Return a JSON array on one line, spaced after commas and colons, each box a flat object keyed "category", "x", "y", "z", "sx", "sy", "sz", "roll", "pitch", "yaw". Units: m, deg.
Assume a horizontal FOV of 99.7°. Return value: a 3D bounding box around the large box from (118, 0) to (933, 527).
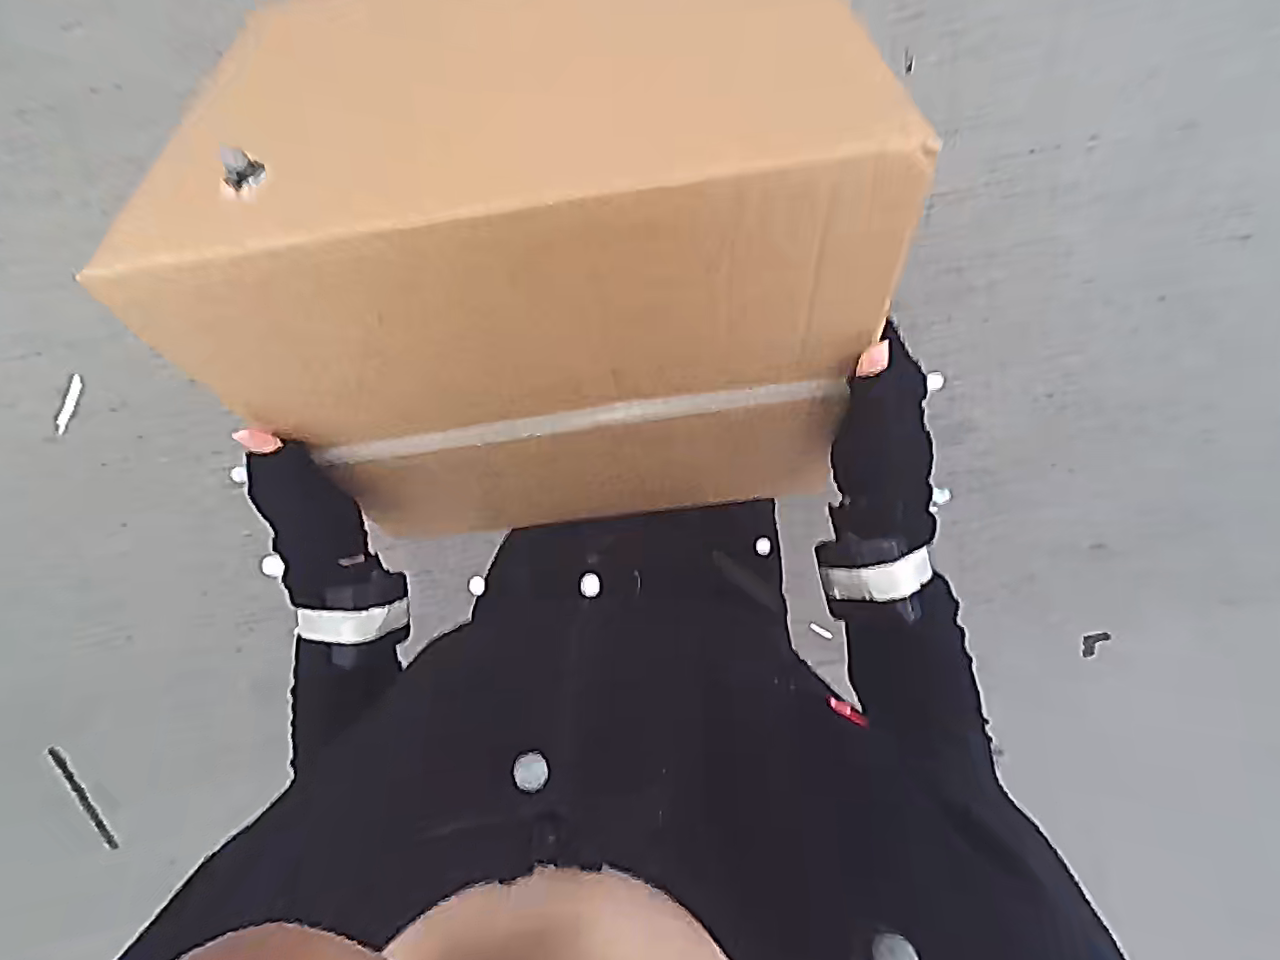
[{"category": "large box", "x": -0.061, "y": -0.183, "z": 0.455, "sx": 0.408, "sy": 0.320, "sz": 0.320, "roll": -7, "pitch": 151, "yaw": 3}]
